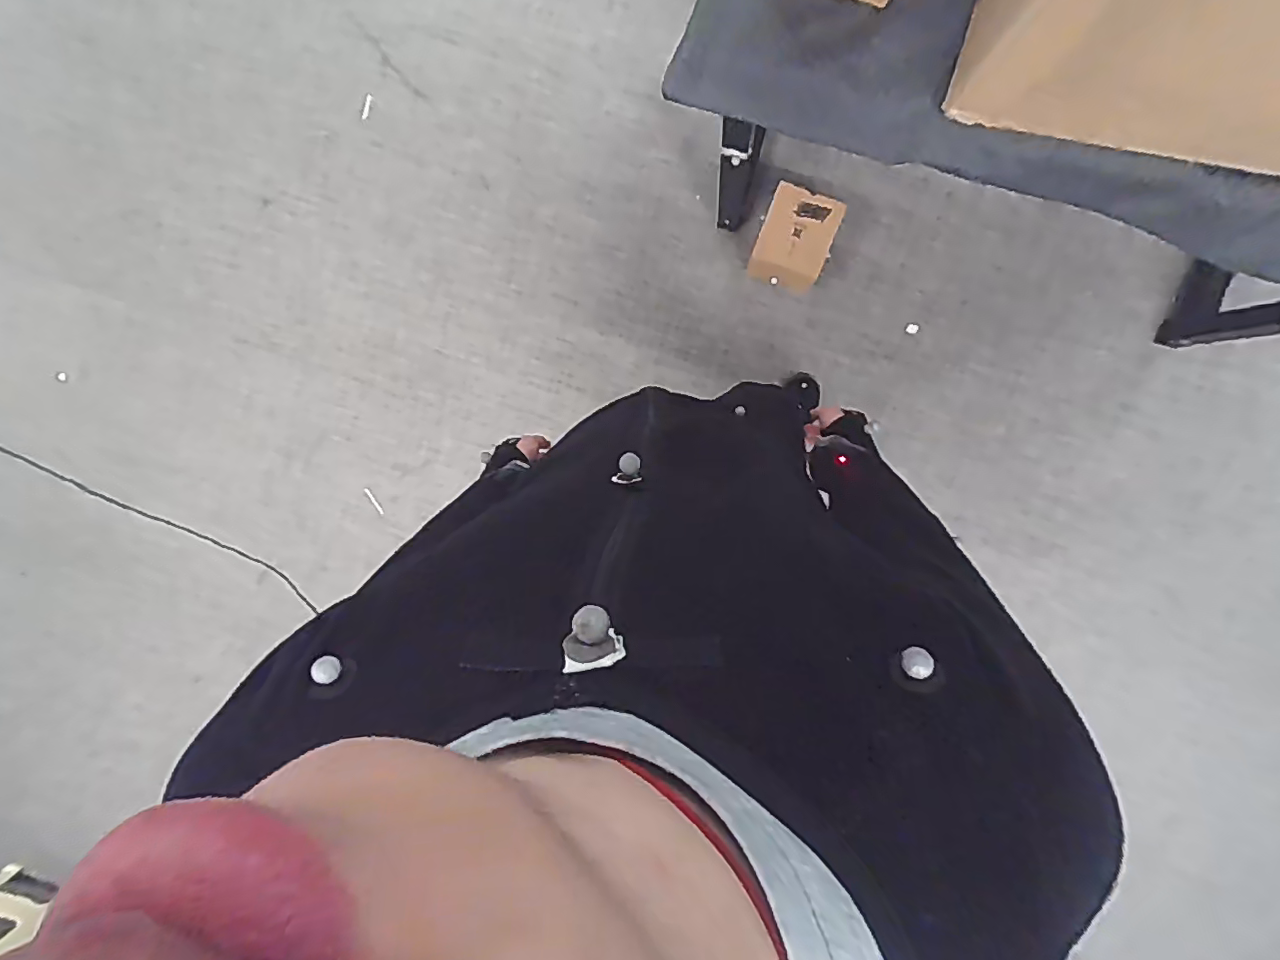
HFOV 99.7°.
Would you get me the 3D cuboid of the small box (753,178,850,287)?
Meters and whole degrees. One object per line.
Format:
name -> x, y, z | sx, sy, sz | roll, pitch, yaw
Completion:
small box -> 0.387, -0.601, 1.336 | 0.168, 0.176, 0.179 | 22, 101, 5
